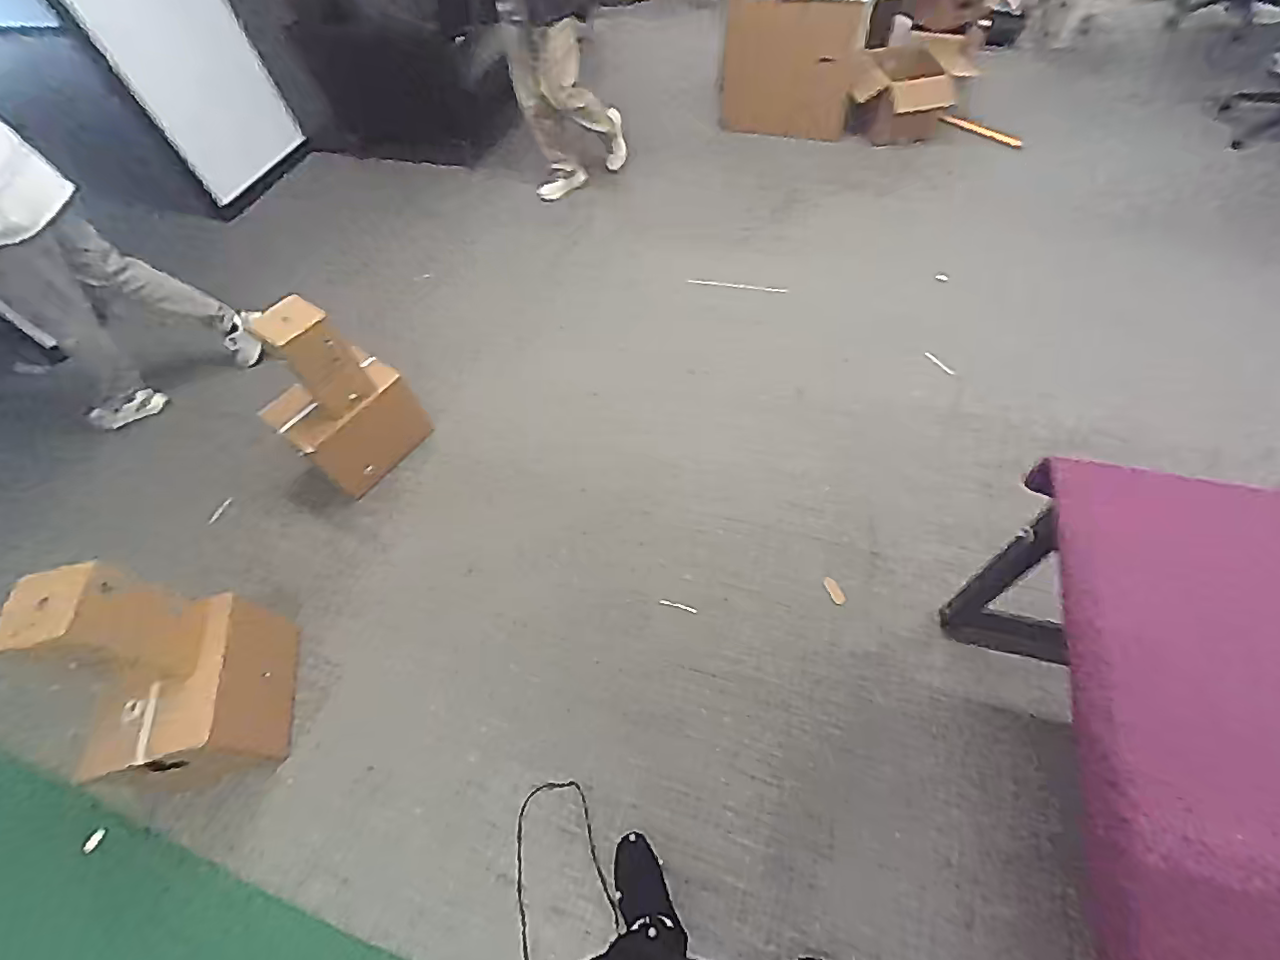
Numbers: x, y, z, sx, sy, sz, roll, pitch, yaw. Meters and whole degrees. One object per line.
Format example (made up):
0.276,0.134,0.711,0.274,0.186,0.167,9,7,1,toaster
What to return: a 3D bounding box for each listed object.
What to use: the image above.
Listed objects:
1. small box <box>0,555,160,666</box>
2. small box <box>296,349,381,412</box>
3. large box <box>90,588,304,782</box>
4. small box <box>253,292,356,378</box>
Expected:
-1.235,0.294,1.207,0.168,0.176,0.179,-12,57,-1,small box
-1.012,-0.357,1.802,0.179,0.176,0.168,33,66,22,small box
-1.192,0.576,1.512,0.320,0.320,0.408,-16,58,-3,large box
-1.021,-0.439,1.662,0.179,0.176,0.168,30,65,22,small box
